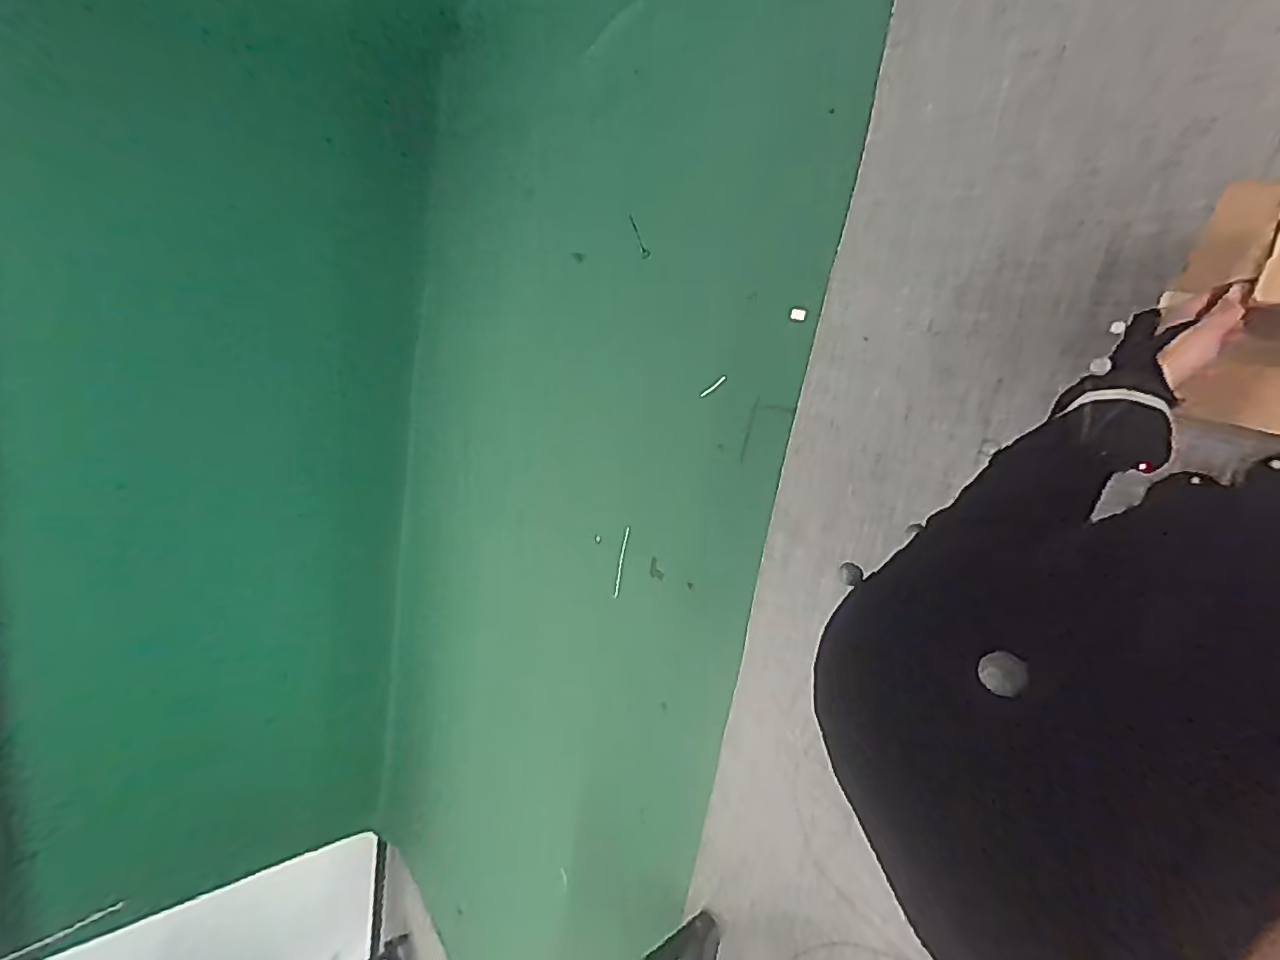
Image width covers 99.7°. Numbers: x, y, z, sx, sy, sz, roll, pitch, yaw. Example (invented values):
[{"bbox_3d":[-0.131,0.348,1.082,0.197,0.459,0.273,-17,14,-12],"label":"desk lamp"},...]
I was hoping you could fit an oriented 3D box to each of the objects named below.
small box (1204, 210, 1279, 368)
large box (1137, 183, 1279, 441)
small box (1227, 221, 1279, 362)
[{"bbox_3d":[0.810,-0.212,0.617,0.179,0.176,0.168,37,117,42],"label":"small box"},{"bbox_3d":[1.018,-0.197,0.747,0.408,0.320,0.320,29,113,43],"label":"large box"},{"bbox_3d":[0.698,-0.196,0.500,0.168,0.176,0.179,25,108,44],"label":"small box"}]
